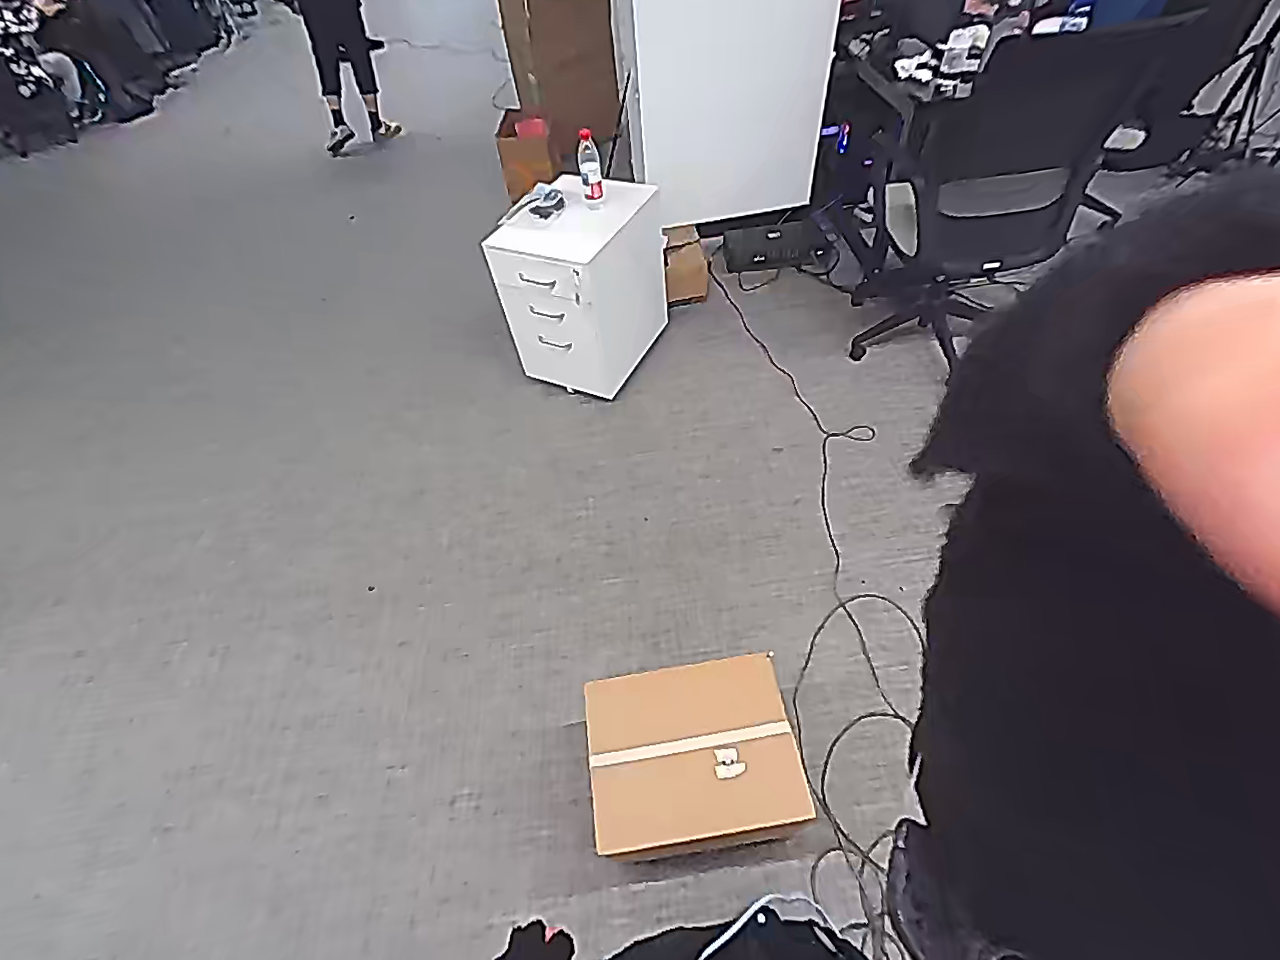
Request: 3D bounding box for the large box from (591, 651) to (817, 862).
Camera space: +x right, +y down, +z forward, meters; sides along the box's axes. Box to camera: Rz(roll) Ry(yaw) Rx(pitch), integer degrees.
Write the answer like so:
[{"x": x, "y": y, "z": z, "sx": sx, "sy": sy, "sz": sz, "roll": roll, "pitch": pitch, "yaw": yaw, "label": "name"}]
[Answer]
[{"x": 0.121, "y": 0.615, "z": 1.192, "sx": 0.408, "sy": 0.320, "sz": 0.320, "roll": -9, "pitch": 52, "yaw": -1, "label": "large box"}]
